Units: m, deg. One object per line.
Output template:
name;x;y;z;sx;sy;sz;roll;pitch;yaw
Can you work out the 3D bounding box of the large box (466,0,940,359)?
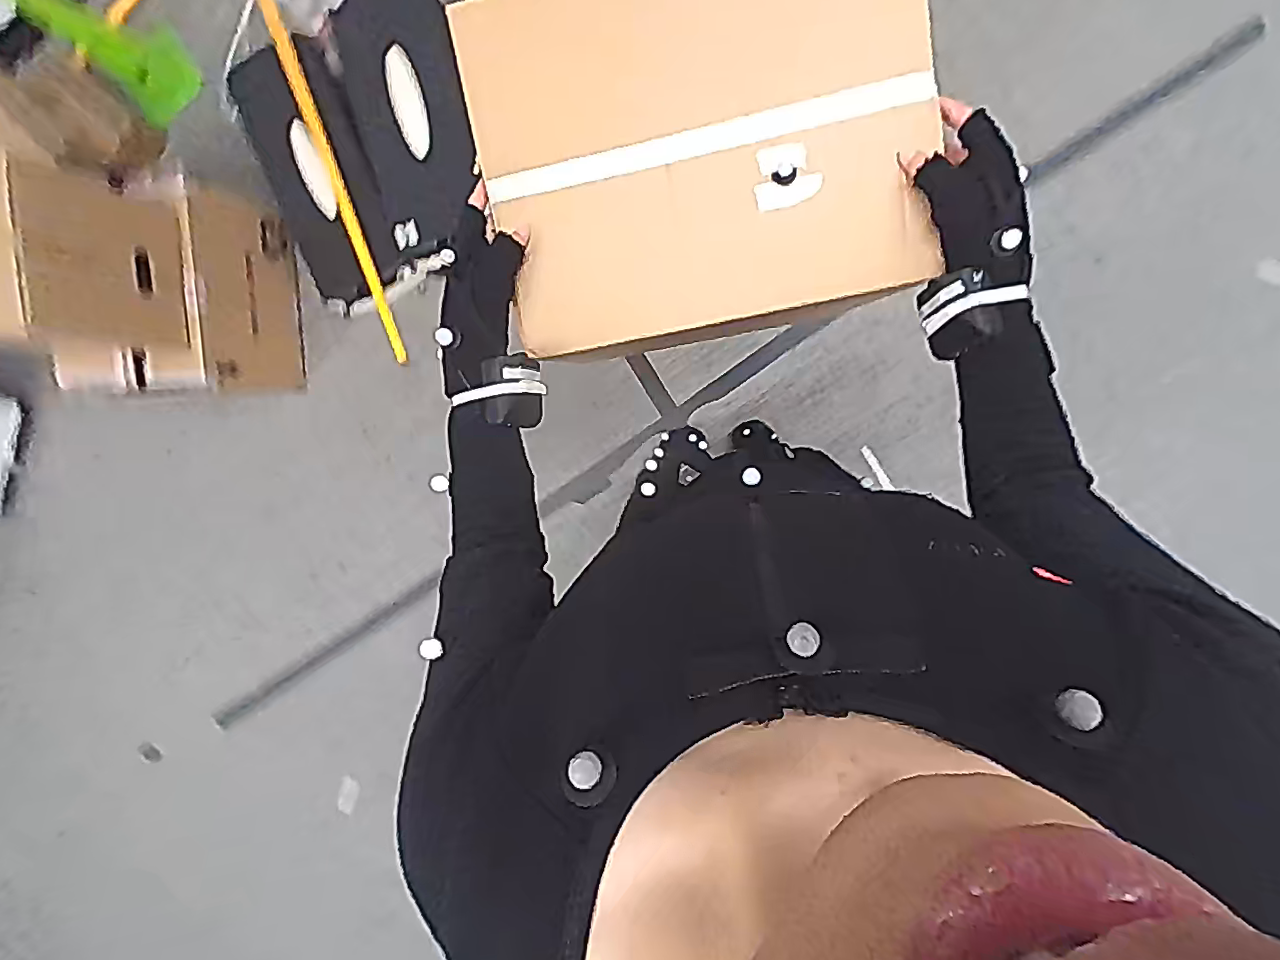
large box;0.068;-0.339;0.644;0.408;0.320;0.320;-9;100;6
